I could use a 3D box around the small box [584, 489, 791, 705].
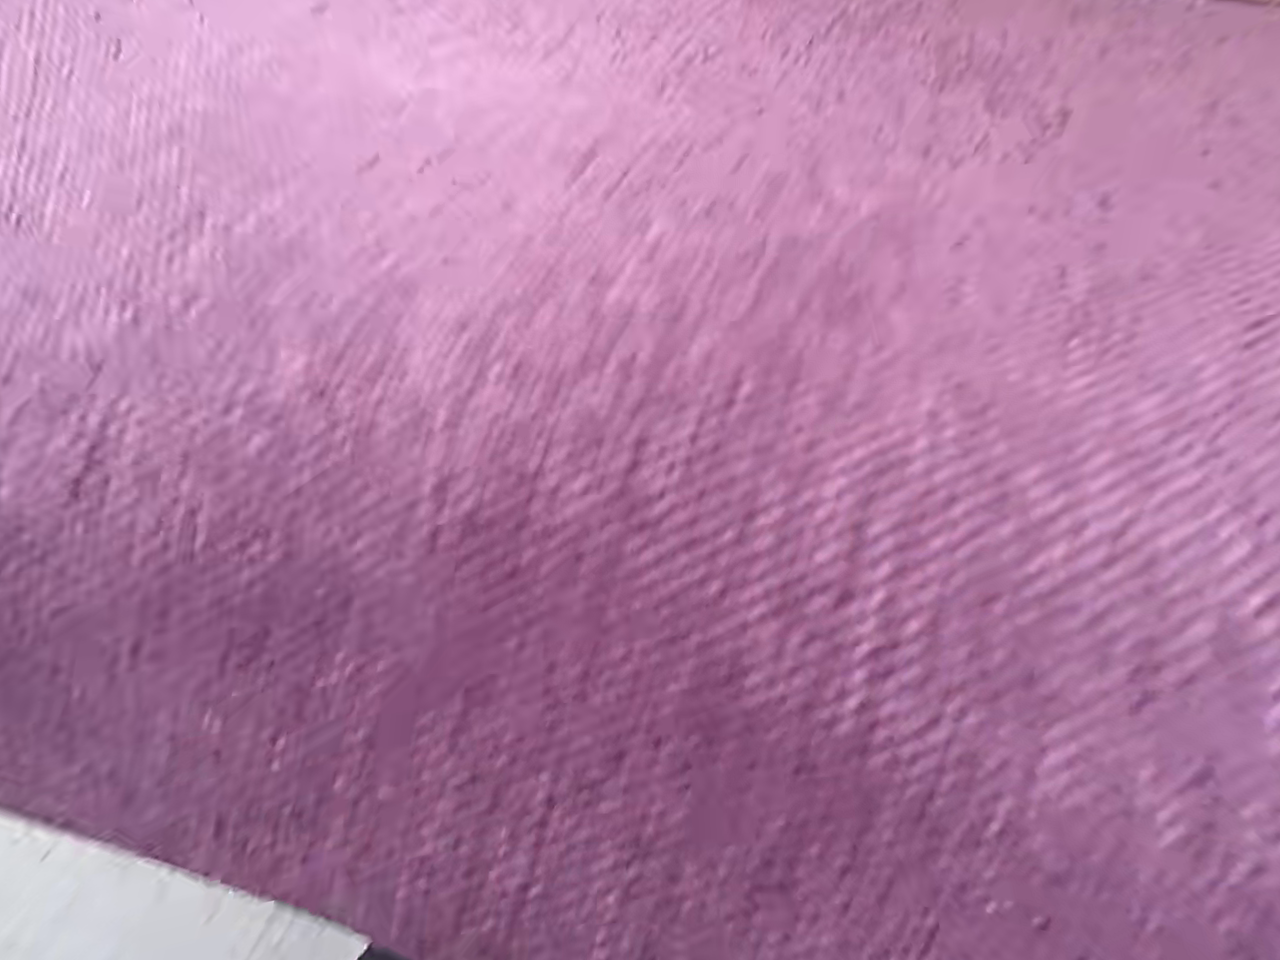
[{"bbox_3d":[0.052,0.138,0.603,0.179,0.176,0.168,14,59,9],"label":"small box"}]
